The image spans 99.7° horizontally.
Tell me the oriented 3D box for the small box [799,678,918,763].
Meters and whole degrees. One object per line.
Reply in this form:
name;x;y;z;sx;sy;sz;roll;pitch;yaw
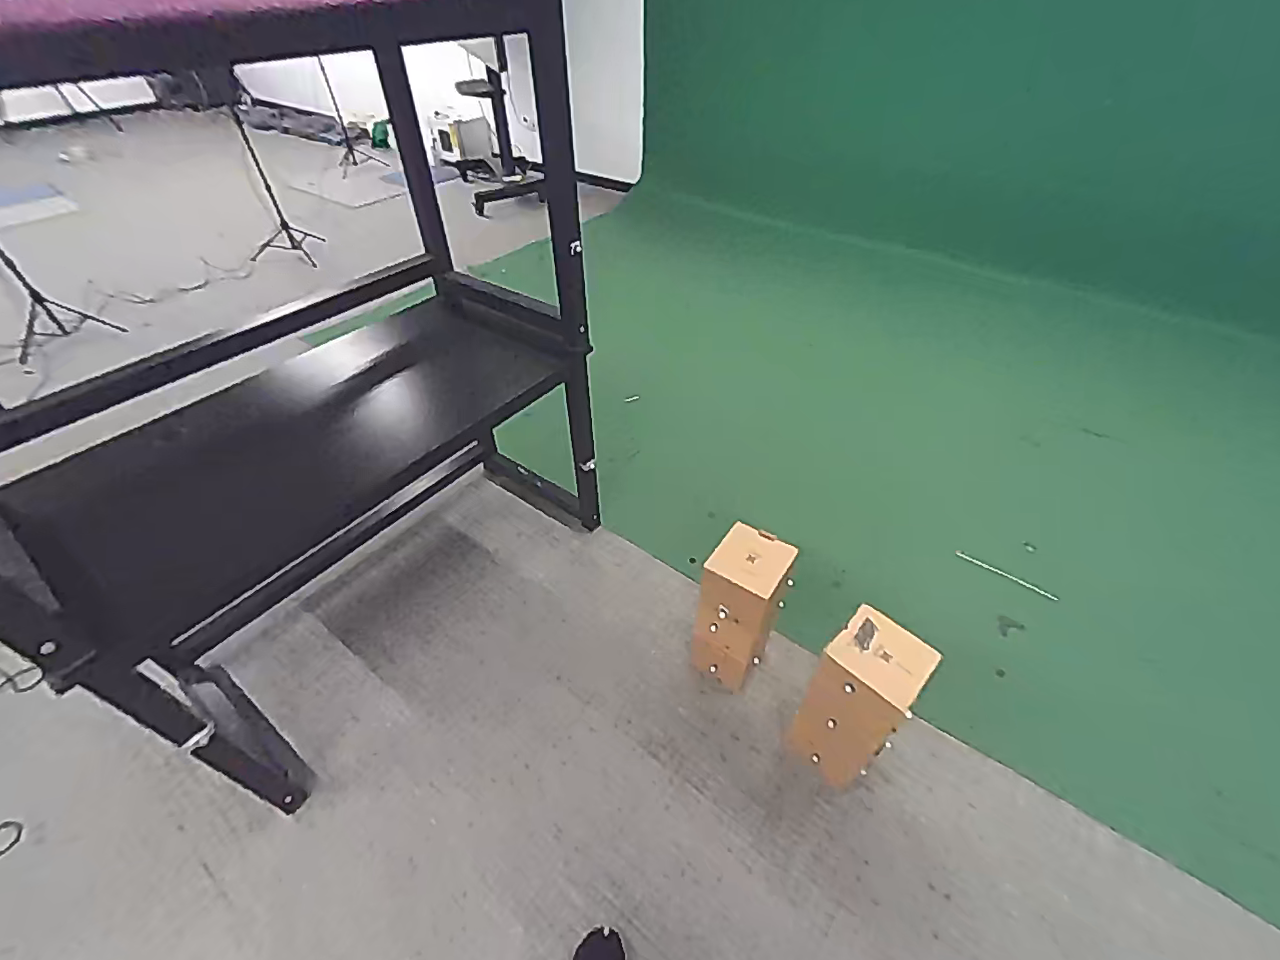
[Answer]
small box;0.492;0.507;1.242;0.168;0.176;0.179;-33;53;-27

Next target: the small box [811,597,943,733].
small box;0.484;0.388;1.130;0.168;0.176;0.179;-35;54;-29

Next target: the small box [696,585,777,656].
small box;0.260;0.329;1.430;0.168;0.176;0.179;27;50;26

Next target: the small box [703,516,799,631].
small box;0.260;0.225;1.304;0.168;0.176;0.179;24;50;25
